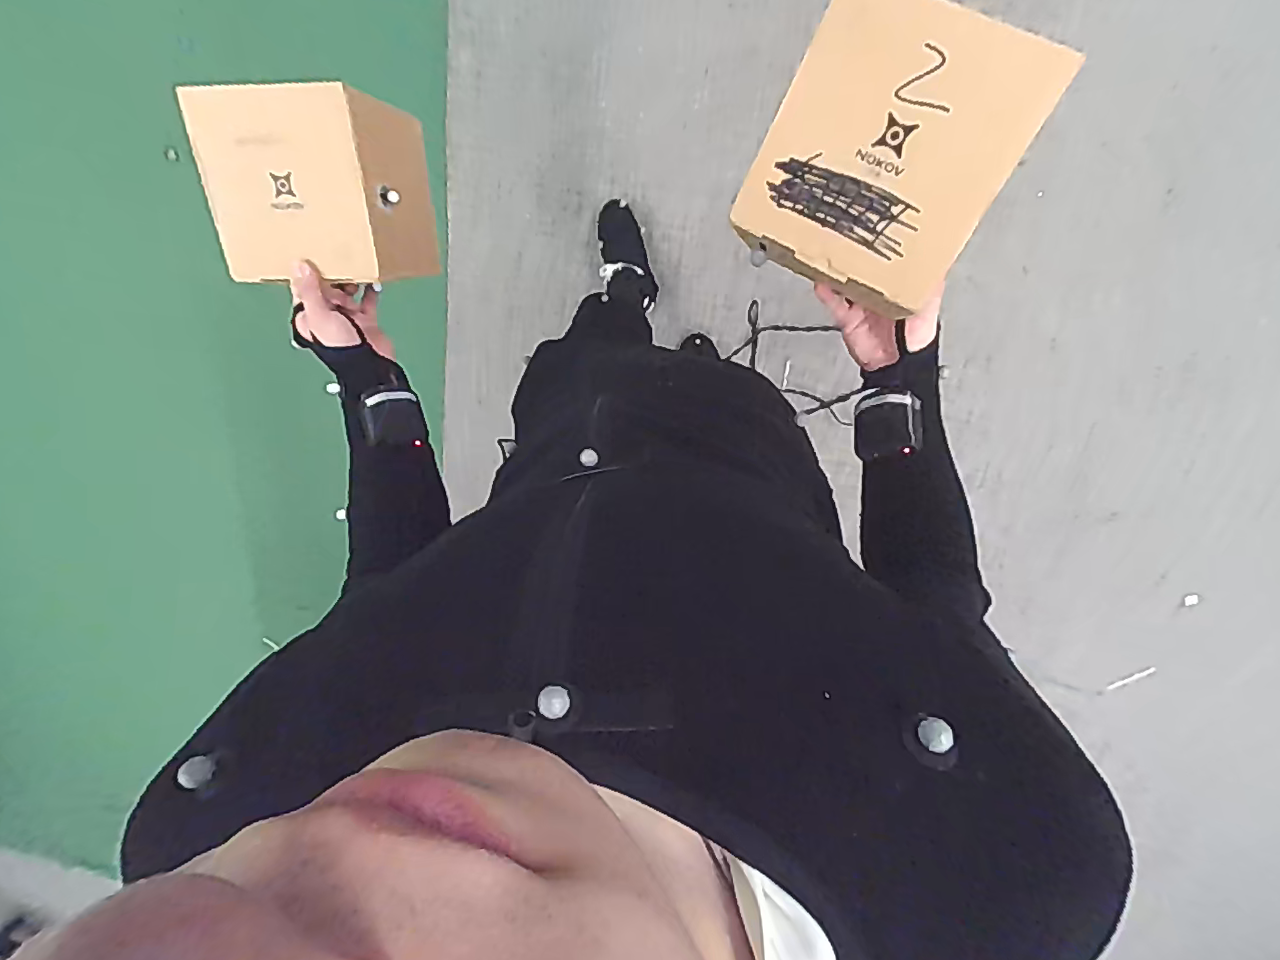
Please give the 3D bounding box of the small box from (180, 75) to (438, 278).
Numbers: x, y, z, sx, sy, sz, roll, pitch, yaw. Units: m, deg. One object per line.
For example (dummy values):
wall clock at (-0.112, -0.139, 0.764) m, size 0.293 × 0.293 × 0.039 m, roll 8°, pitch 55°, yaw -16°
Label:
small box at (-0.344, -0.326, 0.606) m, size 0.168 × 0.176 × 0.179 m, roll 2°, pitch 113°, yaw 3°
